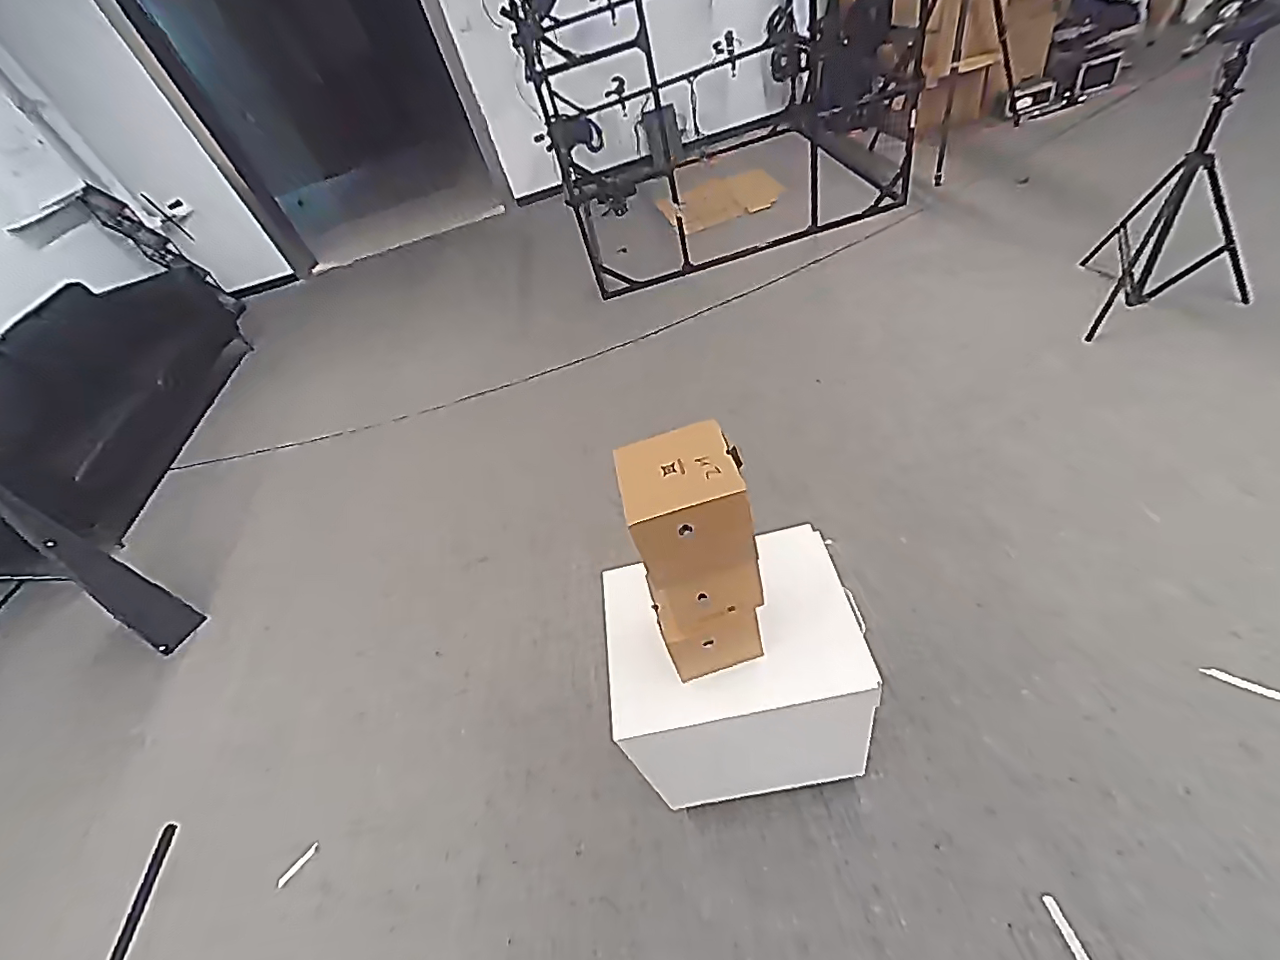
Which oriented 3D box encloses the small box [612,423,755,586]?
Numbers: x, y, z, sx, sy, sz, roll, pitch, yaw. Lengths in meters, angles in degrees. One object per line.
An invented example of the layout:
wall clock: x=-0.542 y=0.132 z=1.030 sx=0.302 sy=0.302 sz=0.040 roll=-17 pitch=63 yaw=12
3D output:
small box: x=0.069 y=0.043 z=0.853 sx=0.179 sy=0.176 sz=0.168 roll=-17 pitch=44 yaw=3

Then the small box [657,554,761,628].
small box: x=0.109 y=0.145 z=0.977 sx=0.168 sy=0.176 sz=0.179 roll=-18 pitch=43 yaw=1

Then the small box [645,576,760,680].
small box: x=0.127 y=0.273 z=1.080 sx=0.179 sy=0.176 sz=0.168 roll=-19 pitch=44 yaw=0
